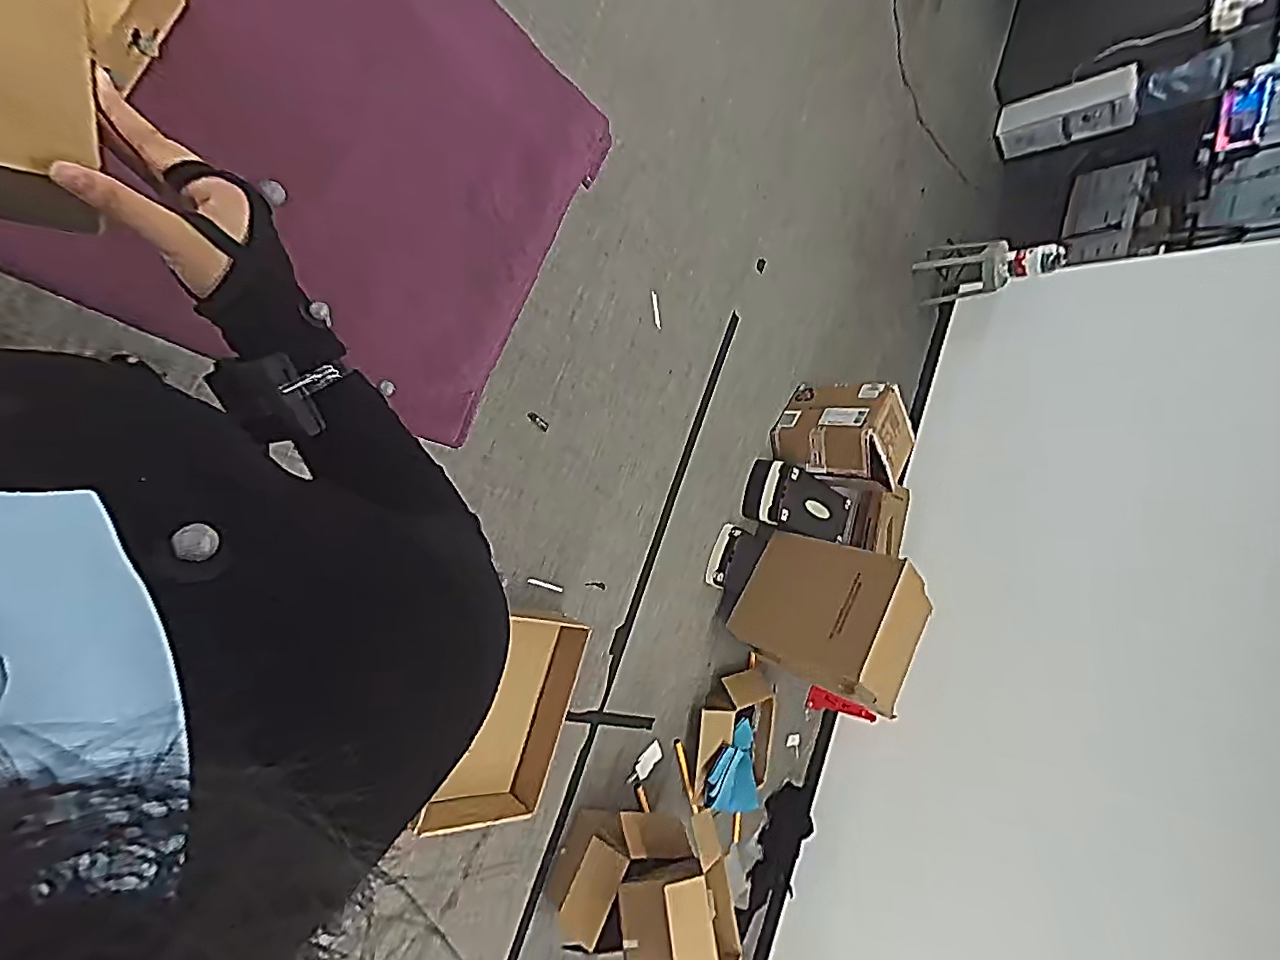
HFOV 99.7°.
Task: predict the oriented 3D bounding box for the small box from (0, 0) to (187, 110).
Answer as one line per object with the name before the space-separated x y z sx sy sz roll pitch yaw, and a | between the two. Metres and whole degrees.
small box | -0.508 -0.449 0.445 0.179 0.176 0.168 29 77 -41
